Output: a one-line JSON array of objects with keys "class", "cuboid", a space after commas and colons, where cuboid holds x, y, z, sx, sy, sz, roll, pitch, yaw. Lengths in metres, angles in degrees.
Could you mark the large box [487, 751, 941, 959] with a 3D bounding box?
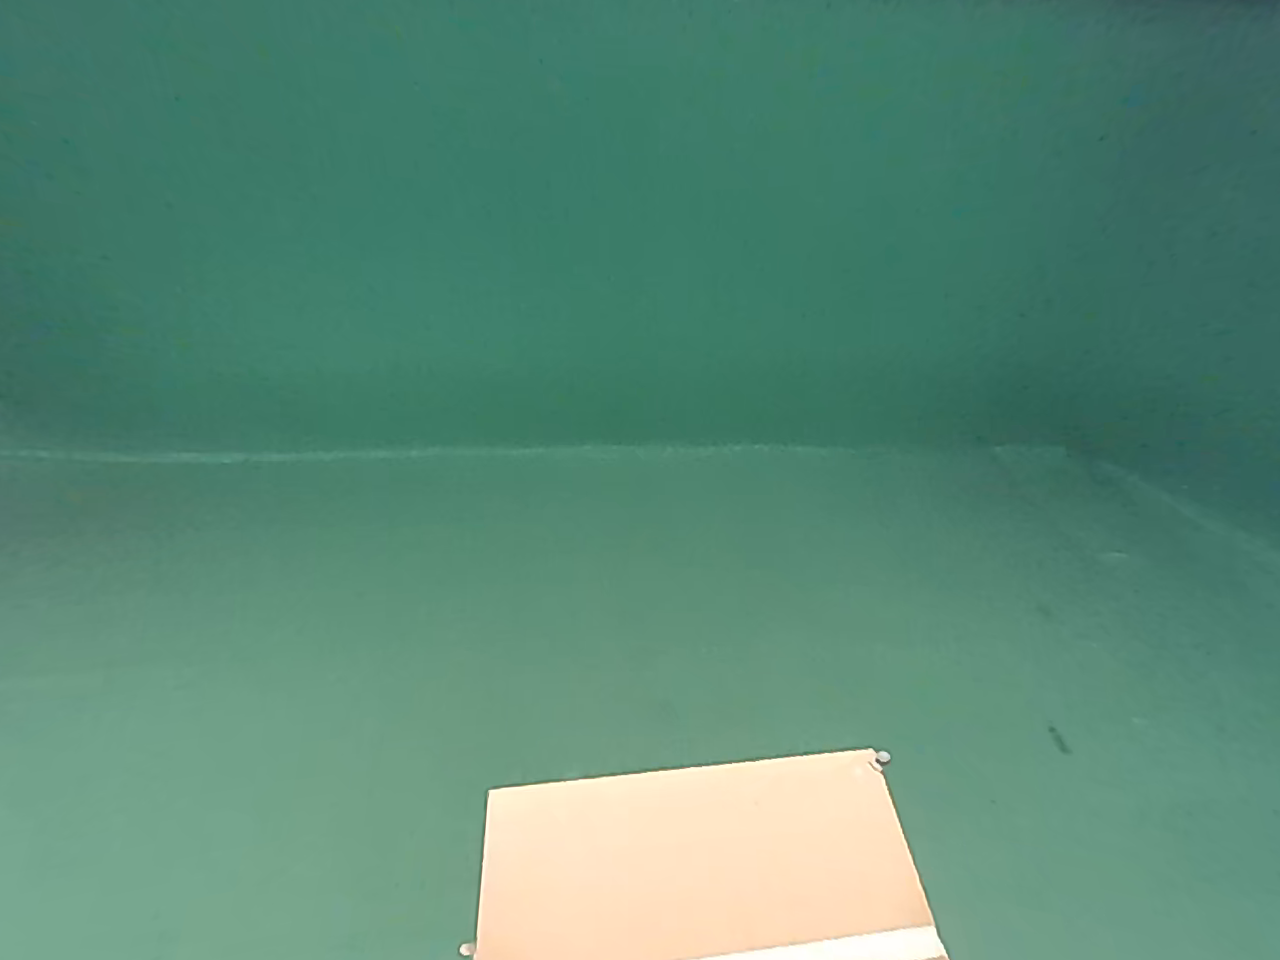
[{"class": "large box", "cuboid": [0.063, 0.522, 0.582, 0.408, 0.320, 0.320, -4, 51, -5]}]
